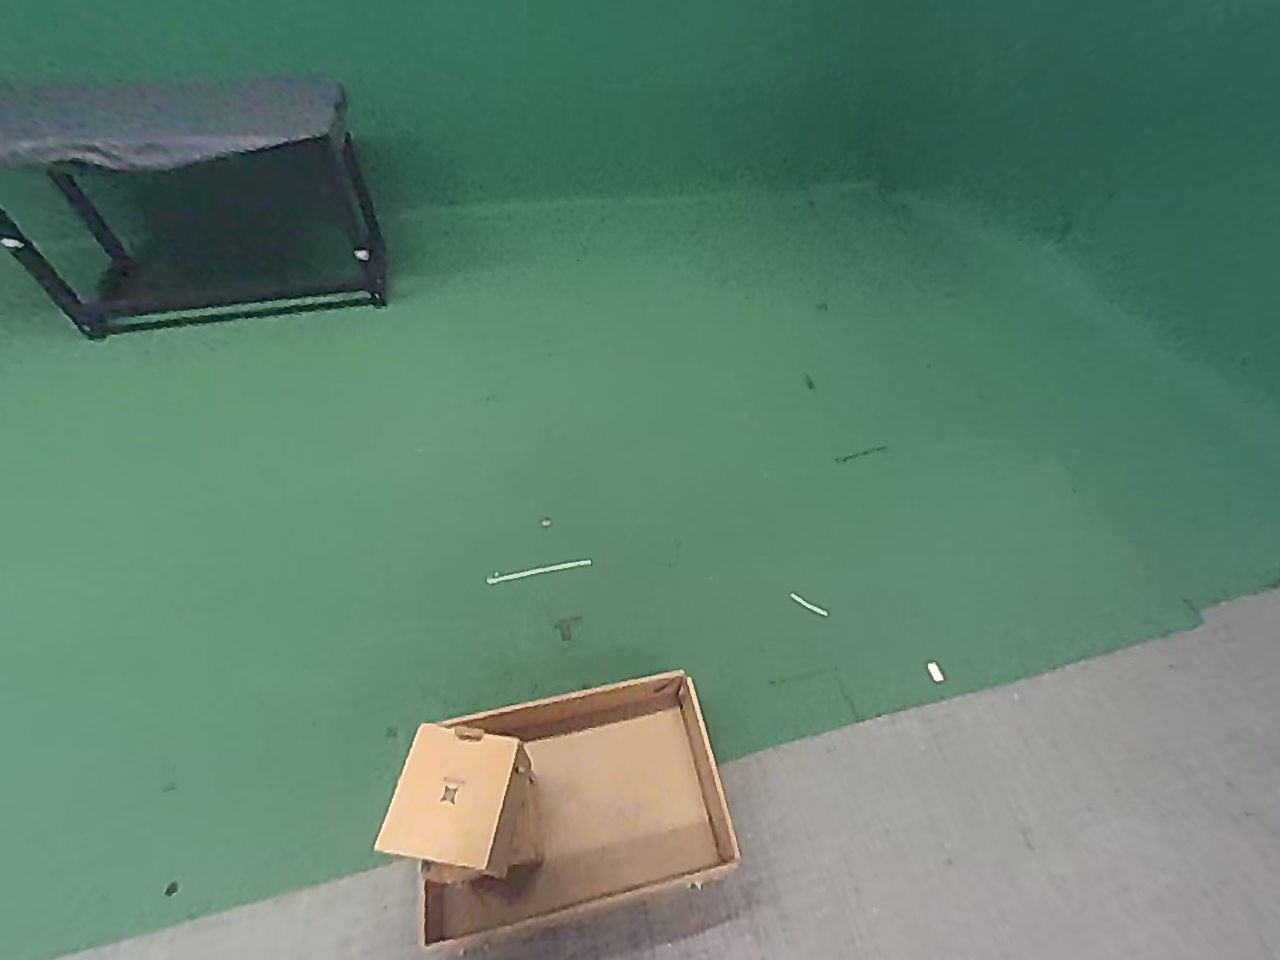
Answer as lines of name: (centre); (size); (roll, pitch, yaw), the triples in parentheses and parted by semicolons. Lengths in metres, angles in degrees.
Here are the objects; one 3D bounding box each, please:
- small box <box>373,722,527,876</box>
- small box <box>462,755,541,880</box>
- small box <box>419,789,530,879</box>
small box: (-0.287, 0.514, 0.866); (0.168, 0.176, 0.179); (8, 50, 3)
small box: (-0.305, 0.707, 1.130); (0.168, 0.176, 0.179); (-10, 52, -12)
small box: (-0.300, 0.612, 0.996); (0.168, 0.176, 0.179); (-8, 51, -12)
